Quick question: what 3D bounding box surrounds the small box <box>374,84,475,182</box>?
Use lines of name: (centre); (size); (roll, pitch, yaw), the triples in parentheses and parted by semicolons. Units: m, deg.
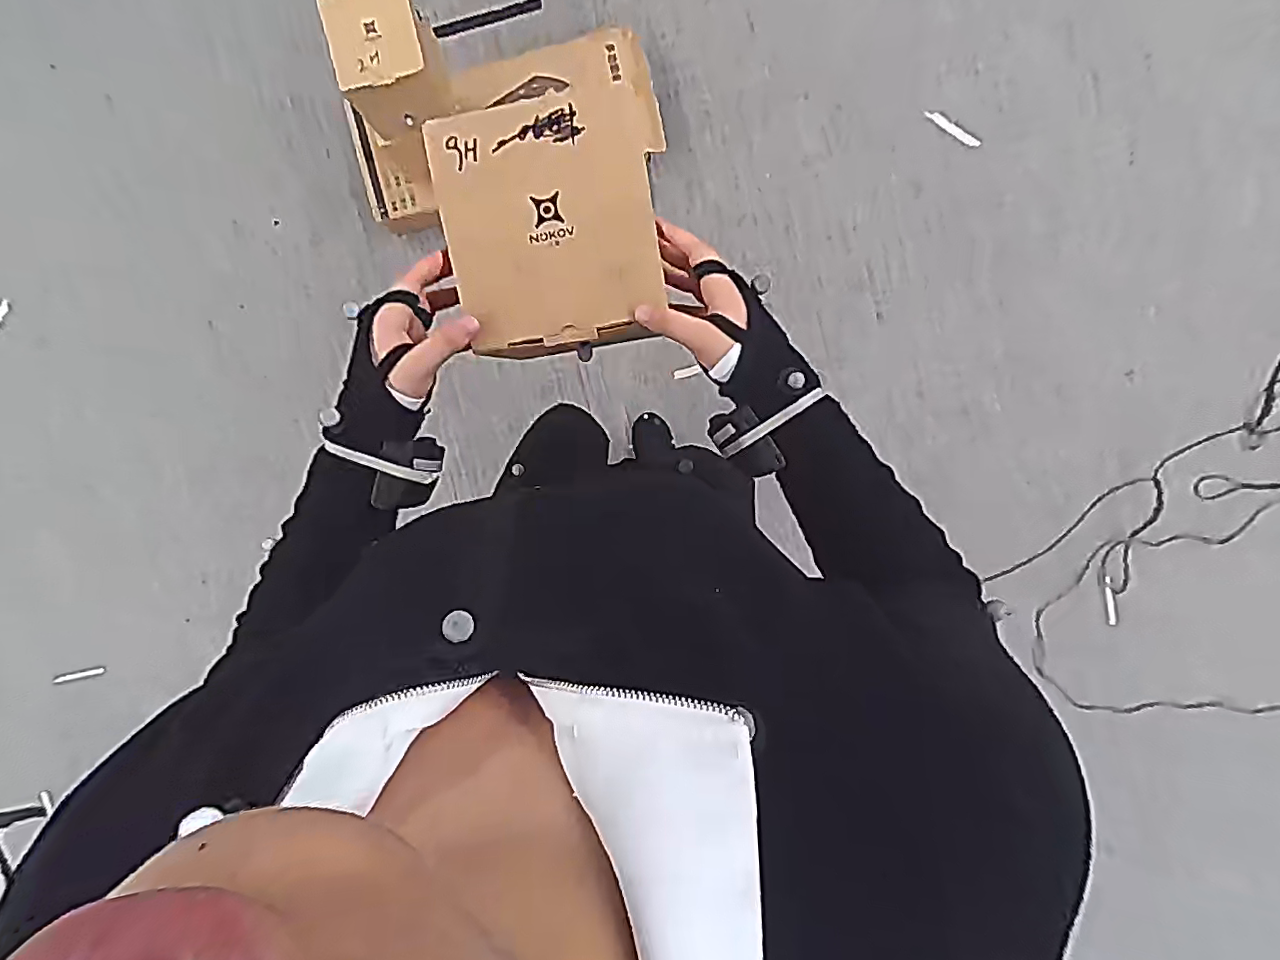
small box: (-0.498, -0.822, 1.233); (0.168, 0.176, 0.179); (-14, 95, 2)

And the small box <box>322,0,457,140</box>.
small box: (-0.483, -0.819, 1.067); (0.168, 0.176, 0.179); (-12, 95, 2)
